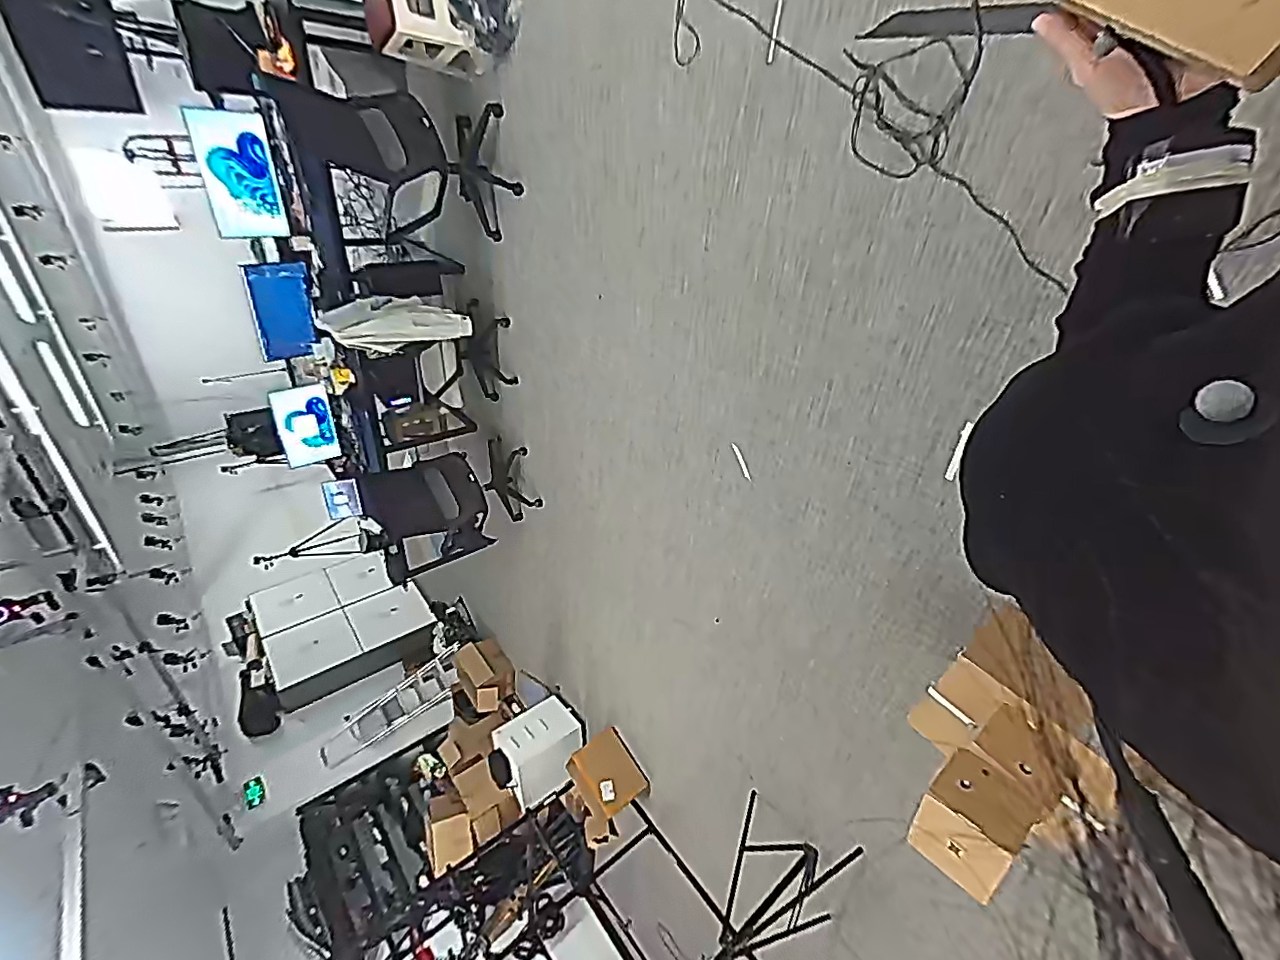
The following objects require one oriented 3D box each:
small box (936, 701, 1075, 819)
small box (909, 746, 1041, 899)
[{"bbox_3d":[0.824,0.641,1.219,0.179,0.176,0.168,44,137,33],"label":"small box"},{"bbox_3d":[0.701,0.704,1.131,0.168,0.176,0.179,30,130,44],"label":"small box"}]
